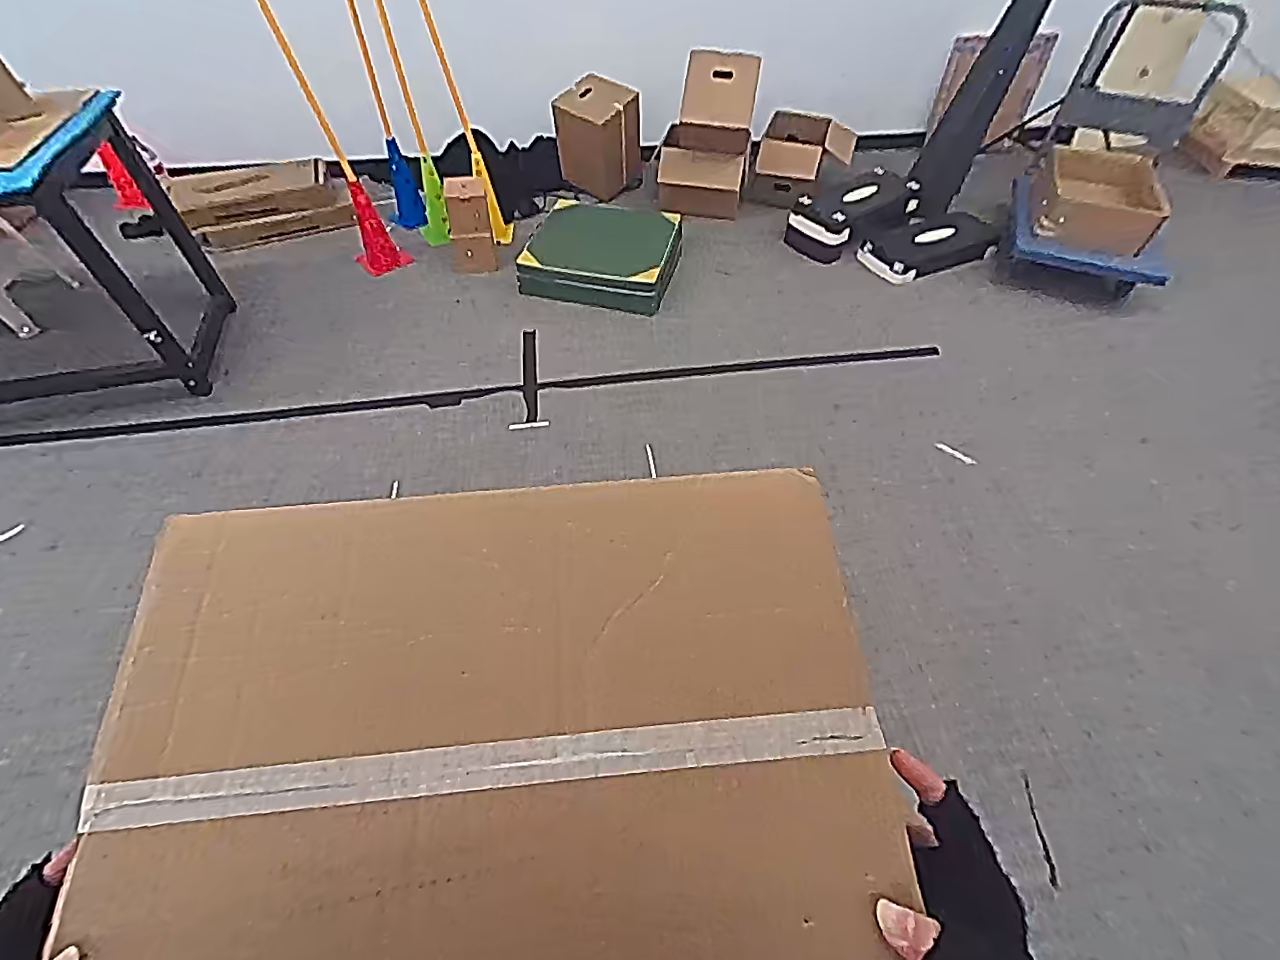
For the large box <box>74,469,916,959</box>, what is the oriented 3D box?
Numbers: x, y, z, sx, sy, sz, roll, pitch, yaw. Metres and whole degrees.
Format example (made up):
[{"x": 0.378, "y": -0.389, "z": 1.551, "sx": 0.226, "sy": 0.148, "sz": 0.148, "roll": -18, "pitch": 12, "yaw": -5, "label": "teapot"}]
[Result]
[{"x": -0.078, "y": 0.210, "z": 0.430, "sx": 0.408, "sy": 0.320, "sz": 0.320, "roll": -4, "pitch": 66, "yaw": -2, "label": "large box"}]
